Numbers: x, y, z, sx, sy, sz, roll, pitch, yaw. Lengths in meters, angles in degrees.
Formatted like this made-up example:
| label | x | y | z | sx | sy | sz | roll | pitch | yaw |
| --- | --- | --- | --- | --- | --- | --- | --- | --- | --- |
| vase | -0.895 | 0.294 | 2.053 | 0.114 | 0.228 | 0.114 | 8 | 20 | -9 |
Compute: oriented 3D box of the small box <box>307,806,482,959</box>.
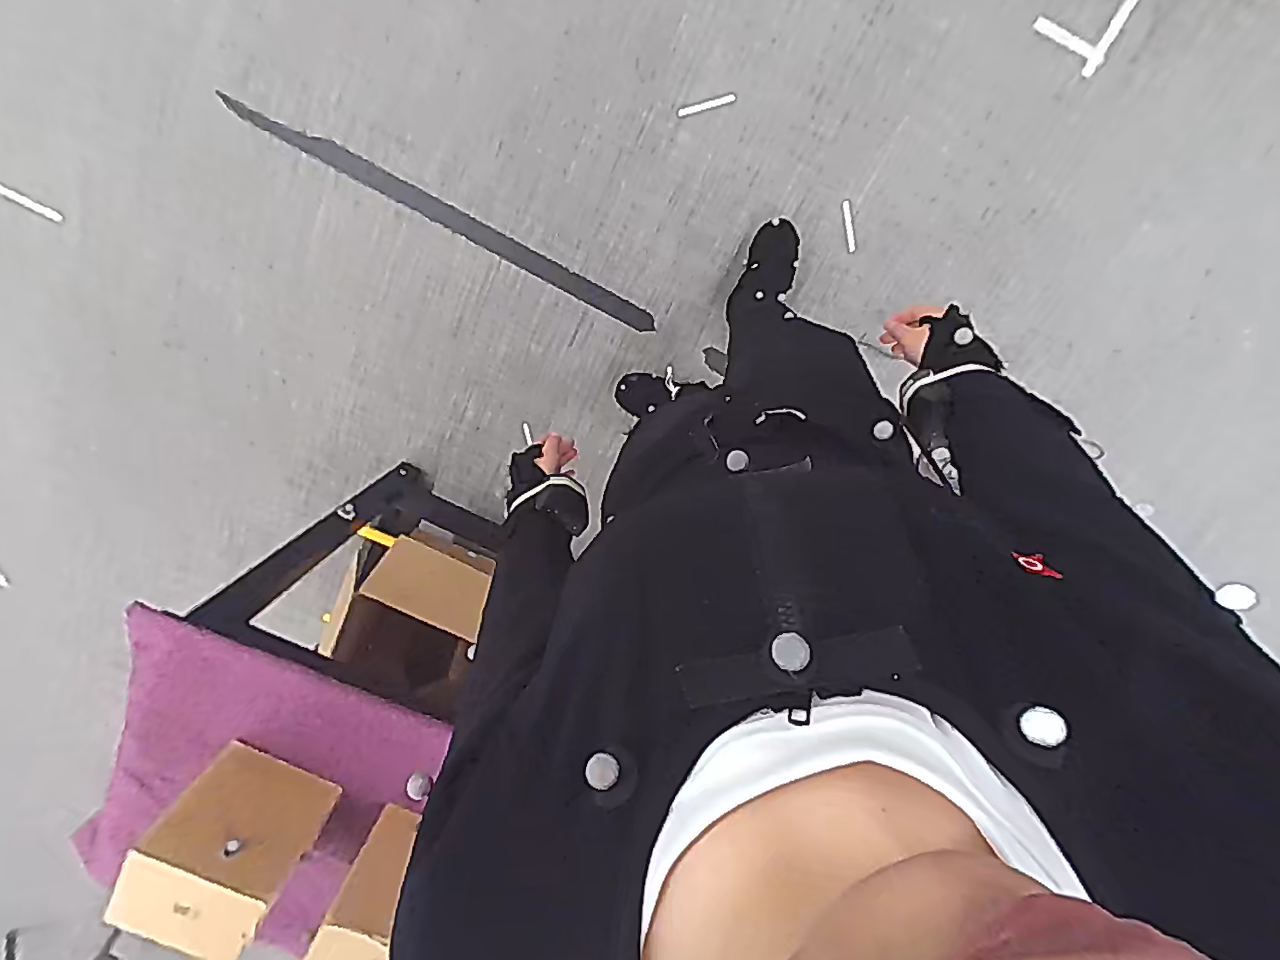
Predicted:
| label | x | y | z | sx | sy | sz | roll | pitch | yaw |
| --- | --- | --- | --- | --- | --- | --- | --- | --- | --- |
| small box | -0.352 | 0.627 | 0.786 | 0.168 | 0.176 | 0.179 | 28 | 109 | -8 |

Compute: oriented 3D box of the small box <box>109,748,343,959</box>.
| label | x | y | z | sx | sy | sz | roll | pitch | yaw |
| --- | --- | --- | --- | --- | --- | --- | --- | --- | --- |
| small box | -0.564 | 0.515 | 0.756 | 0.179 | 0.176 | 0.168 | 30 | 109 | -9 |
